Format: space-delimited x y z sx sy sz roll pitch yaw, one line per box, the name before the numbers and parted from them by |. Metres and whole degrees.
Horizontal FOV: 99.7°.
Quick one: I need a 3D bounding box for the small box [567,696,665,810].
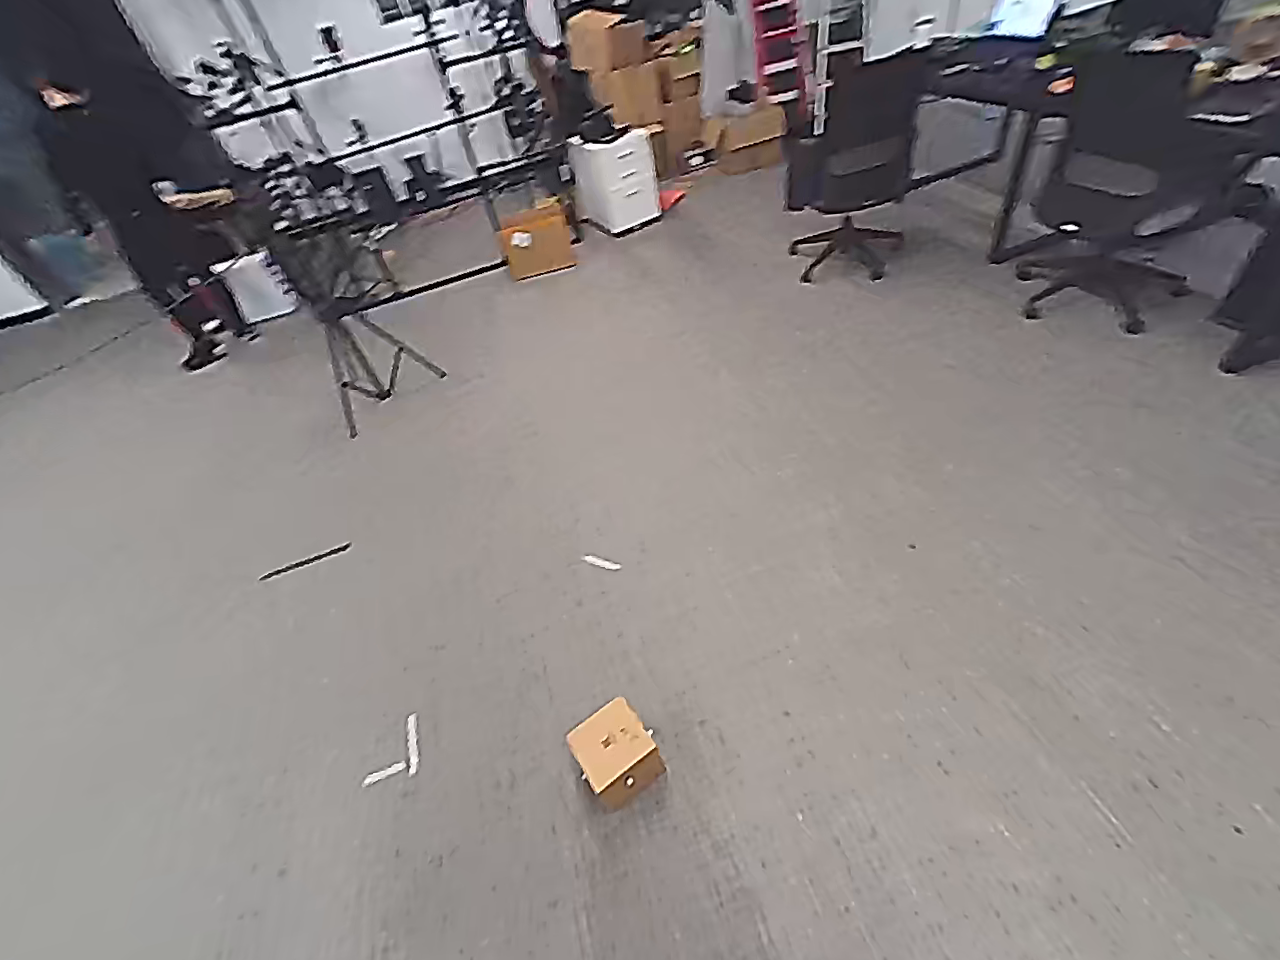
small box | -0.056 0.698 1.377 0.179 0.176 0.168 -31 46 -17
